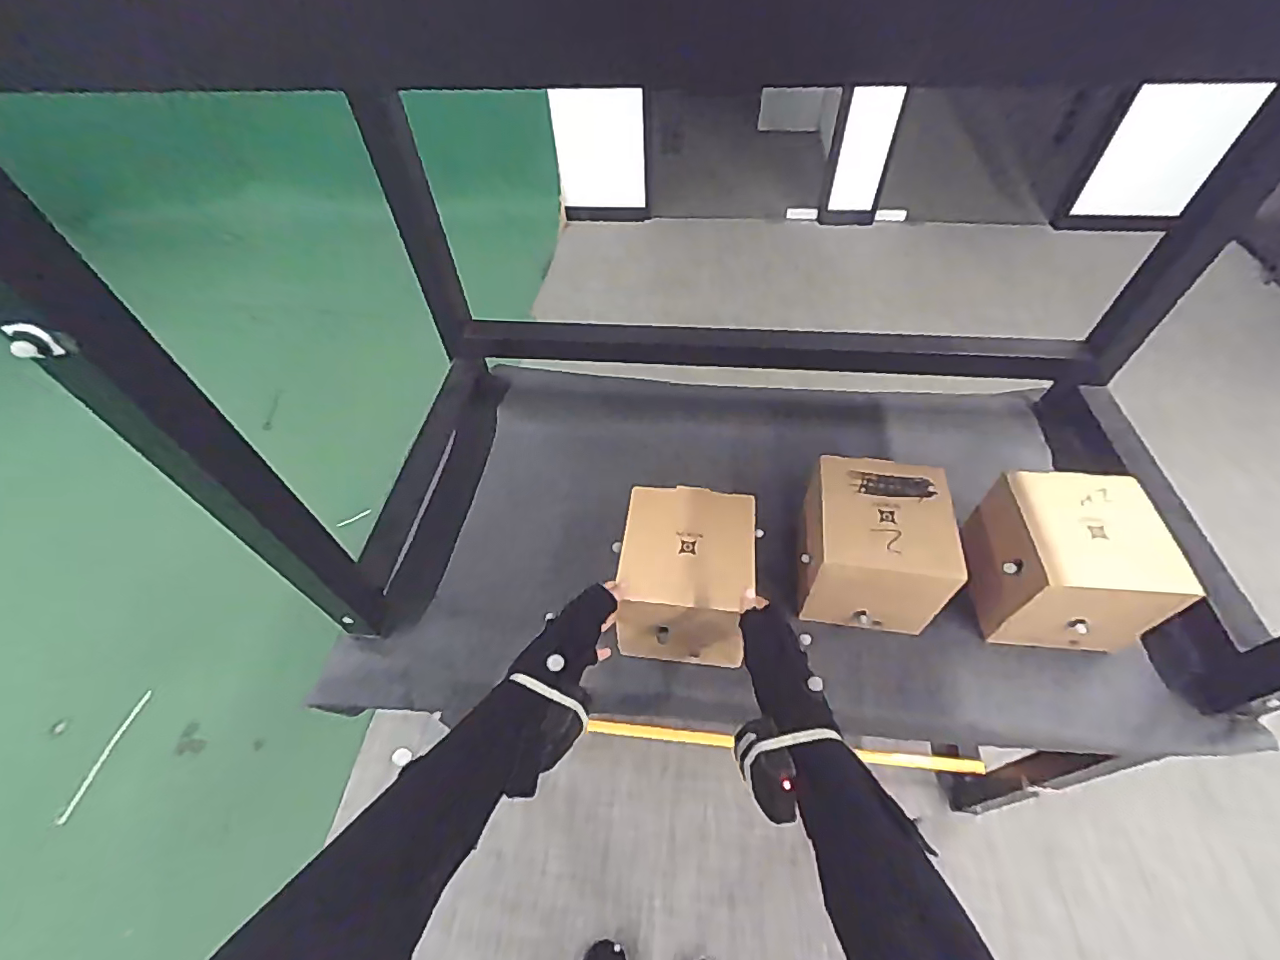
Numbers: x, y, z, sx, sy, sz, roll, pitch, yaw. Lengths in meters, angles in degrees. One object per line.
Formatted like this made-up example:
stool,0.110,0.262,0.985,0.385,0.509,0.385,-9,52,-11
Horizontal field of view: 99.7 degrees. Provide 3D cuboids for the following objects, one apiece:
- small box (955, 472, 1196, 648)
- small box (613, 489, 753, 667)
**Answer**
small box,0.561,0.111,0.732,0.168,0.176,0.179,3,51,5
small box,0.063,0.136,0.737,0.168,0.176,0.179,4,48,6
